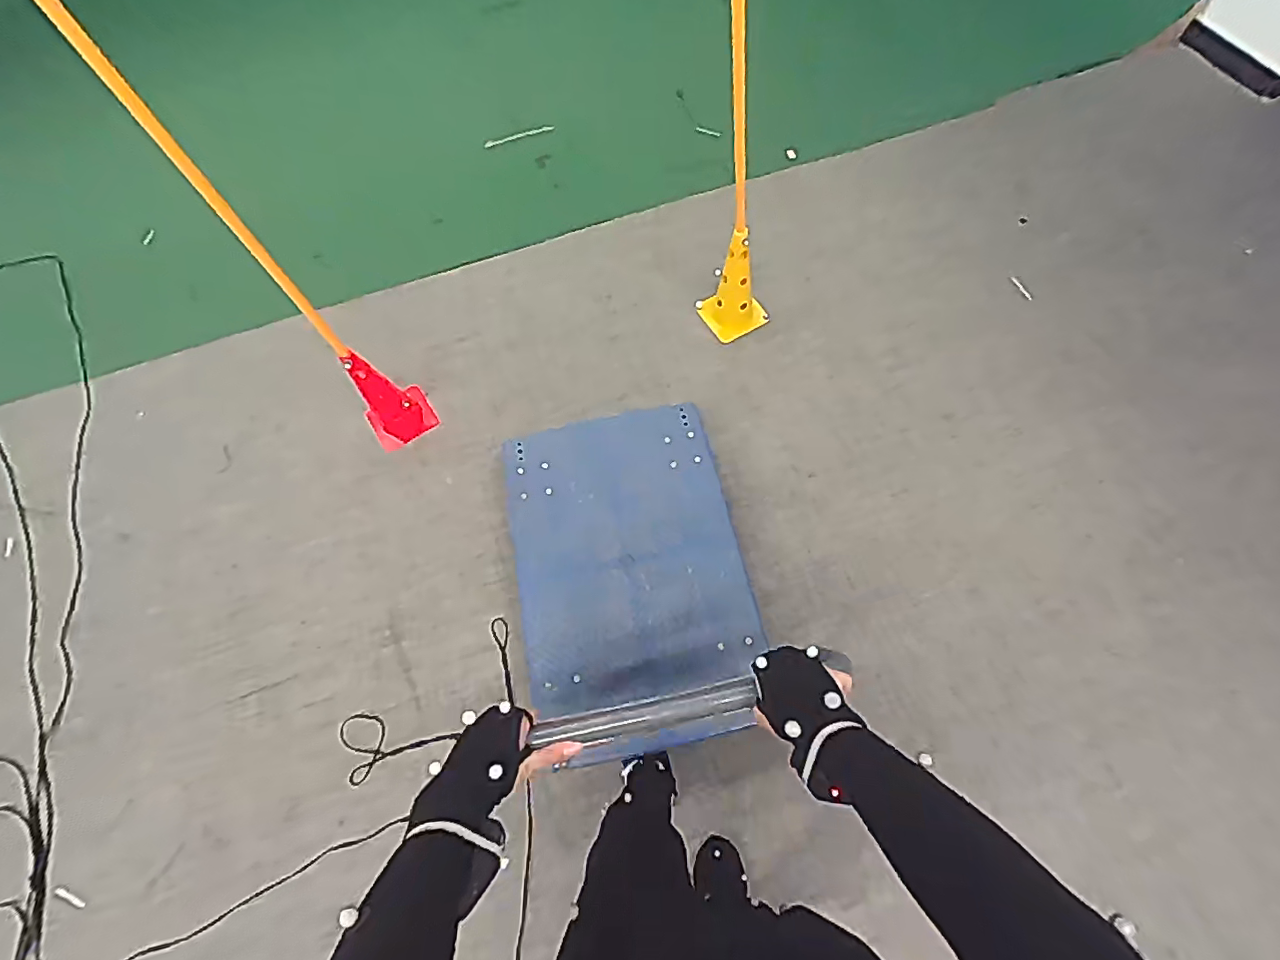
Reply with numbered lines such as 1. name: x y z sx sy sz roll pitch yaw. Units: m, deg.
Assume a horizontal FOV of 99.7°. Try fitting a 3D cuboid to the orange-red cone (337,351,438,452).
1. orange-red cone: -0.809 -0.271 1.658 0.199 0.360 0.198 -33 67 -9
